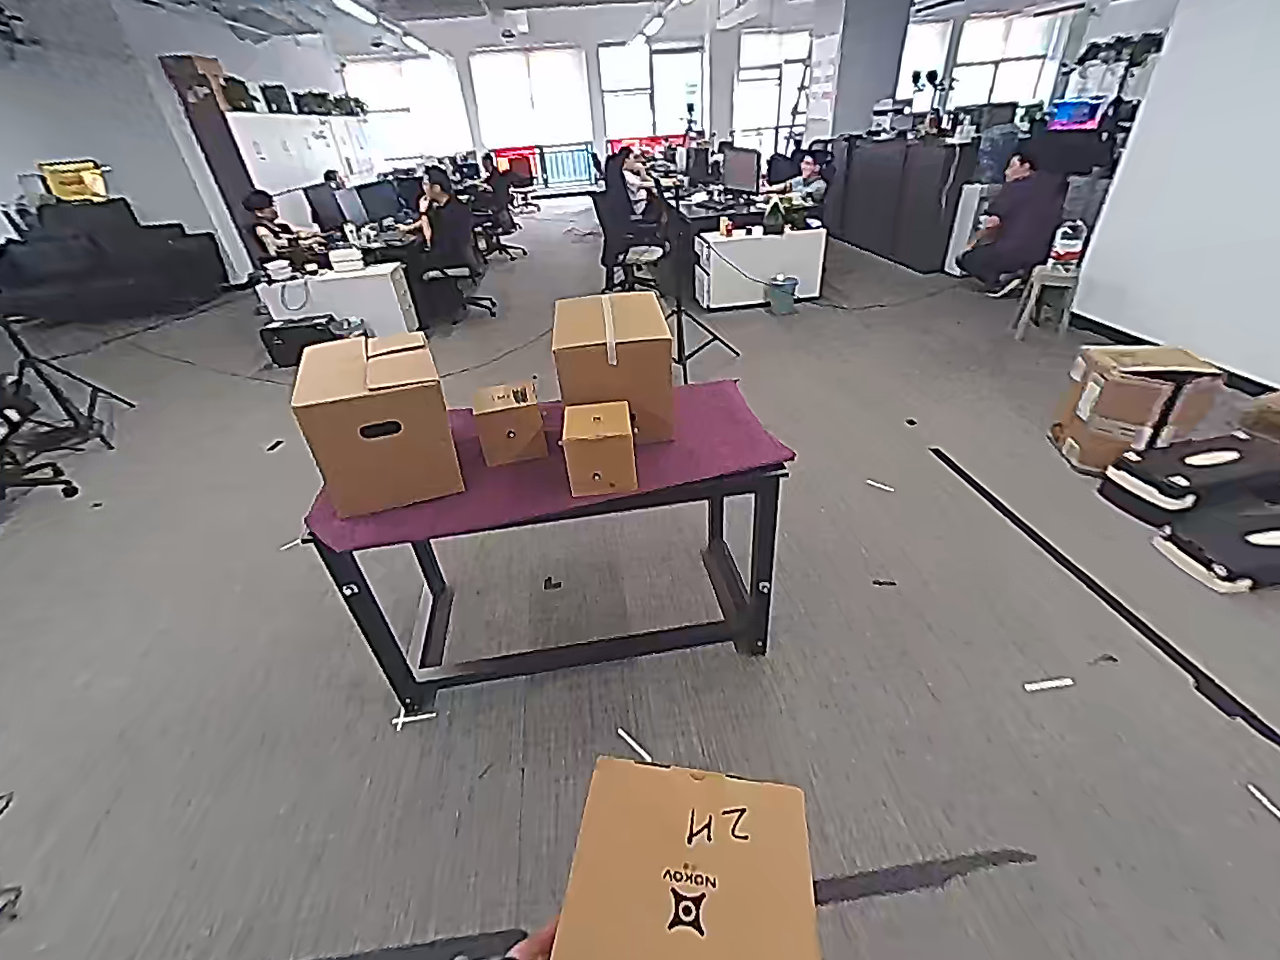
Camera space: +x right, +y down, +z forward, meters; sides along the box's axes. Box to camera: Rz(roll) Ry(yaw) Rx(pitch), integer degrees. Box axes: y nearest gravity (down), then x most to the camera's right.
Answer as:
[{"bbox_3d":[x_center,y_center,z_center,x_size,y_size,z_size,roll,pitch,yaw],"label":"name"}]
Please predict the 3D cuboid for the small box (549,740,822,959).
[{"bbox_3d":[0.034,0.332,0.403,0.168,0.176,0.179,5,31,7],"label":"small box"}]
